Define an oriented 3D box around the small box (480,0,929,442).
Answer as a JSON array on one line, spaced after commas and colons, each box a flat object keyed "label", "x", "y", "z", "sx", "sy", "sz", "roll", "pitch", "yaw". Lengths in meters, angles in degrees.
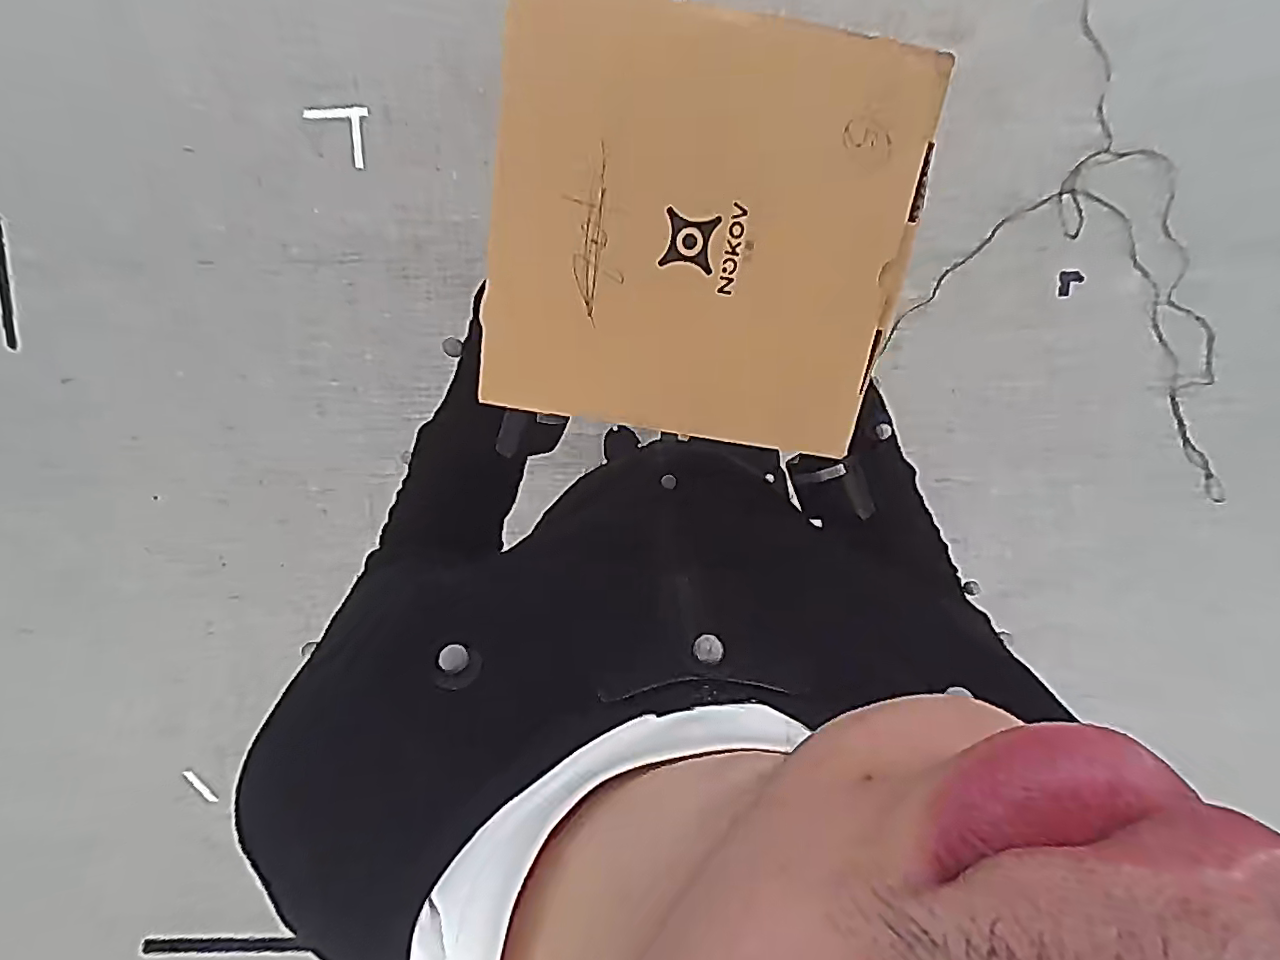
[{"label": "small box", "x": 0.021, "y": -0.132, "z": 0.317, "sx": 0.179, "sy": 0.176, "sz": 0.168, "roll": 9, "pitch": 107, "yaw": -3}]
